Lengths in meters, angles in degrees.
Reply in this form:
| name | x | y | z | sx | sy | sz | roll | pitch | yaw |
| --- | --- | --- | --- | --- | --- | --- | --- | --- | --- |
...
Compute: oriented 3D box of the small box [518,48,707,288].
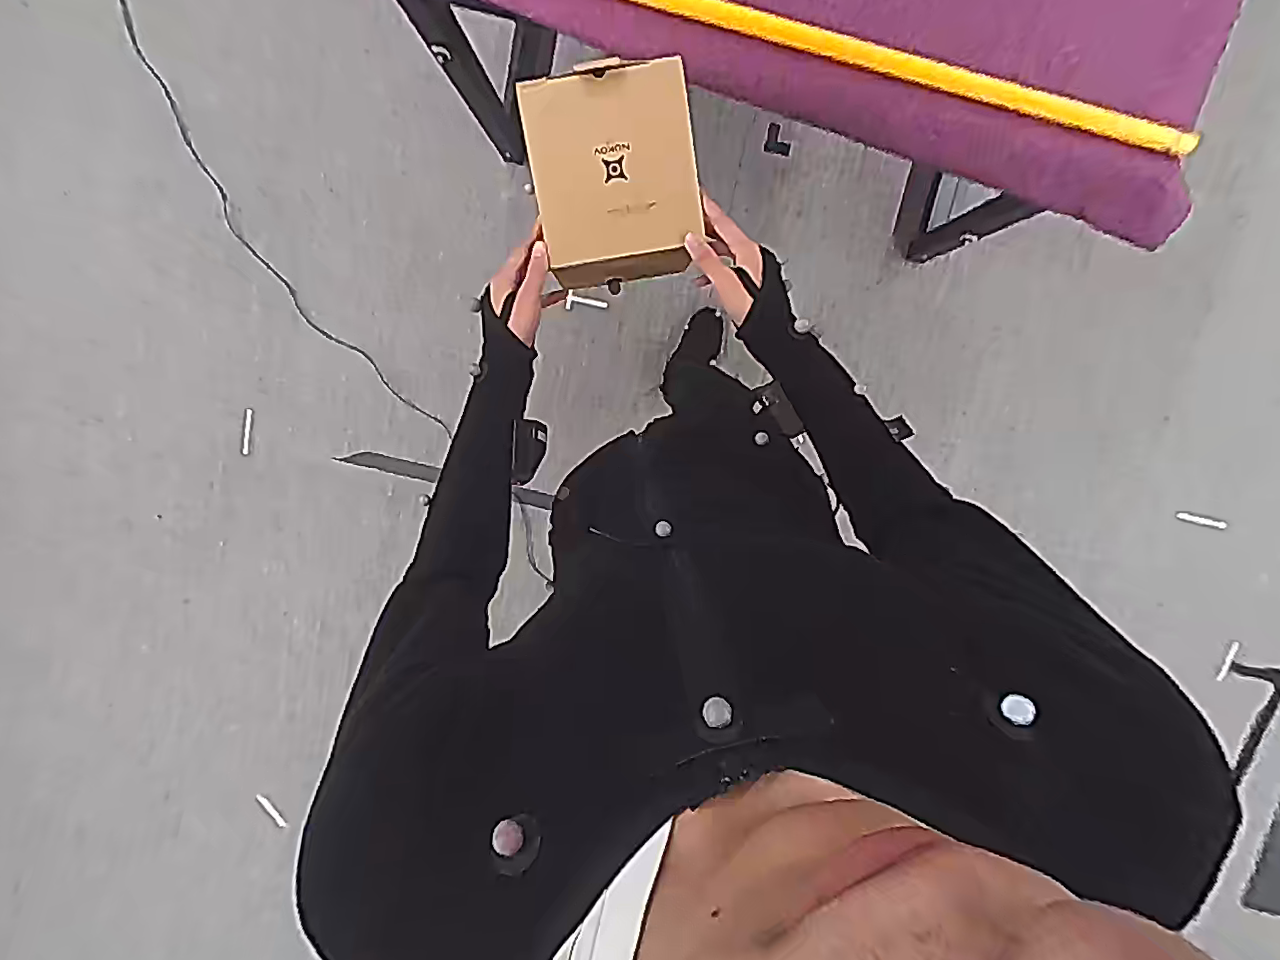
| name | x | y | z | sx | sy | sz | roll | pitch | yaw |
| --- | --- | --- | --- | --- | --- | --- | --- | --- | --- |
| small box | -0.029 | -0.332 | 0.610 | 0.168 | 0.176 | 0.179 | -10 | 101 | 0 |
